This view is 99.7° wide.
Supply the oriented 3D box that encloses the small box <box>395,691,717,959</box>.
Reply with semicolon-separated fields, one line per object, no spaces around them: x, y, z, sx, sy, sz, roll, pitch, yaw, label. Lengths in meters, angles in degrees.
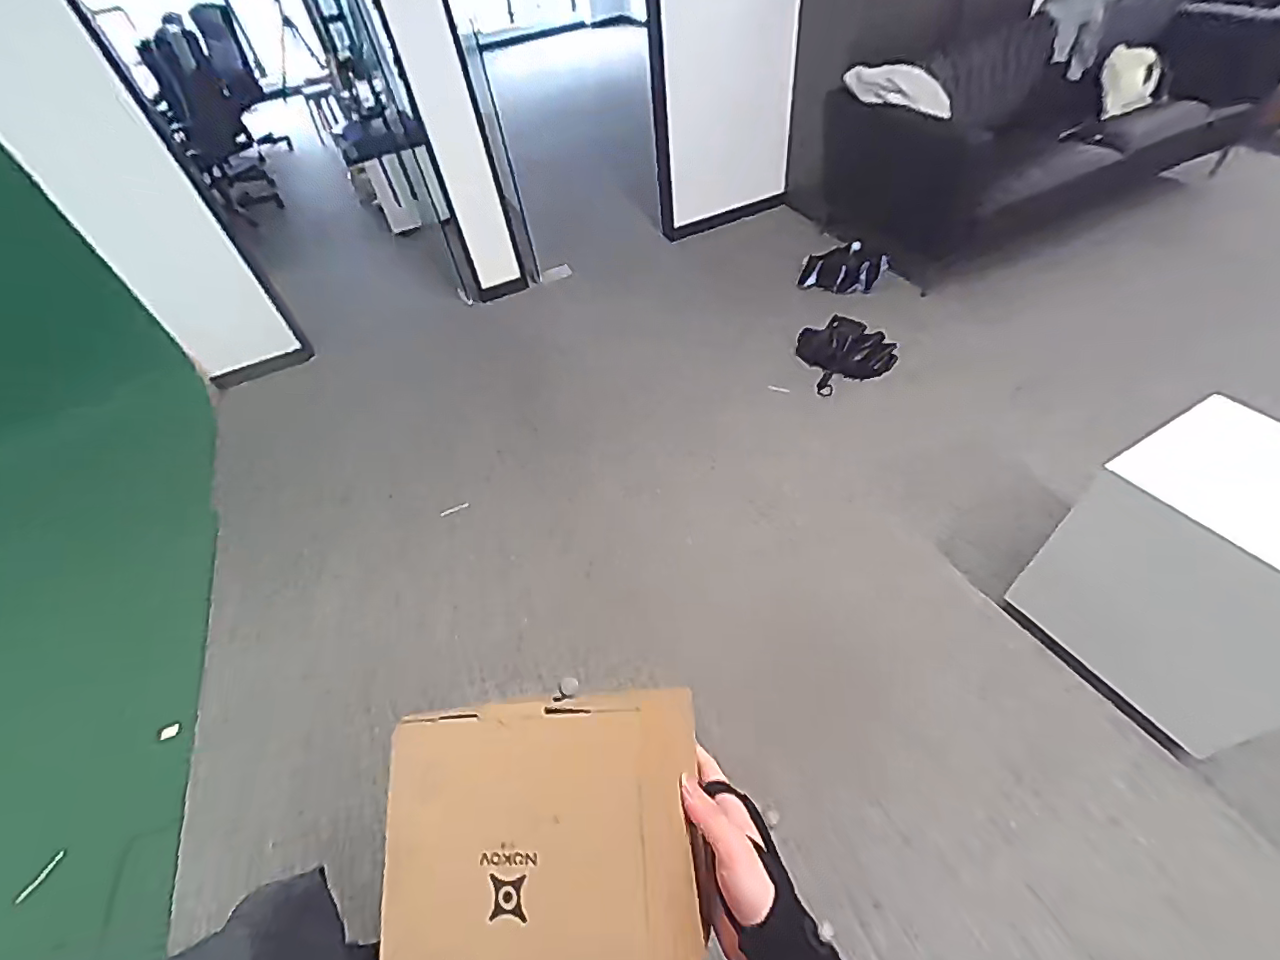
-0.043;0.247;0.381;0.168;0.176;0.179;-9;71;13;small box
